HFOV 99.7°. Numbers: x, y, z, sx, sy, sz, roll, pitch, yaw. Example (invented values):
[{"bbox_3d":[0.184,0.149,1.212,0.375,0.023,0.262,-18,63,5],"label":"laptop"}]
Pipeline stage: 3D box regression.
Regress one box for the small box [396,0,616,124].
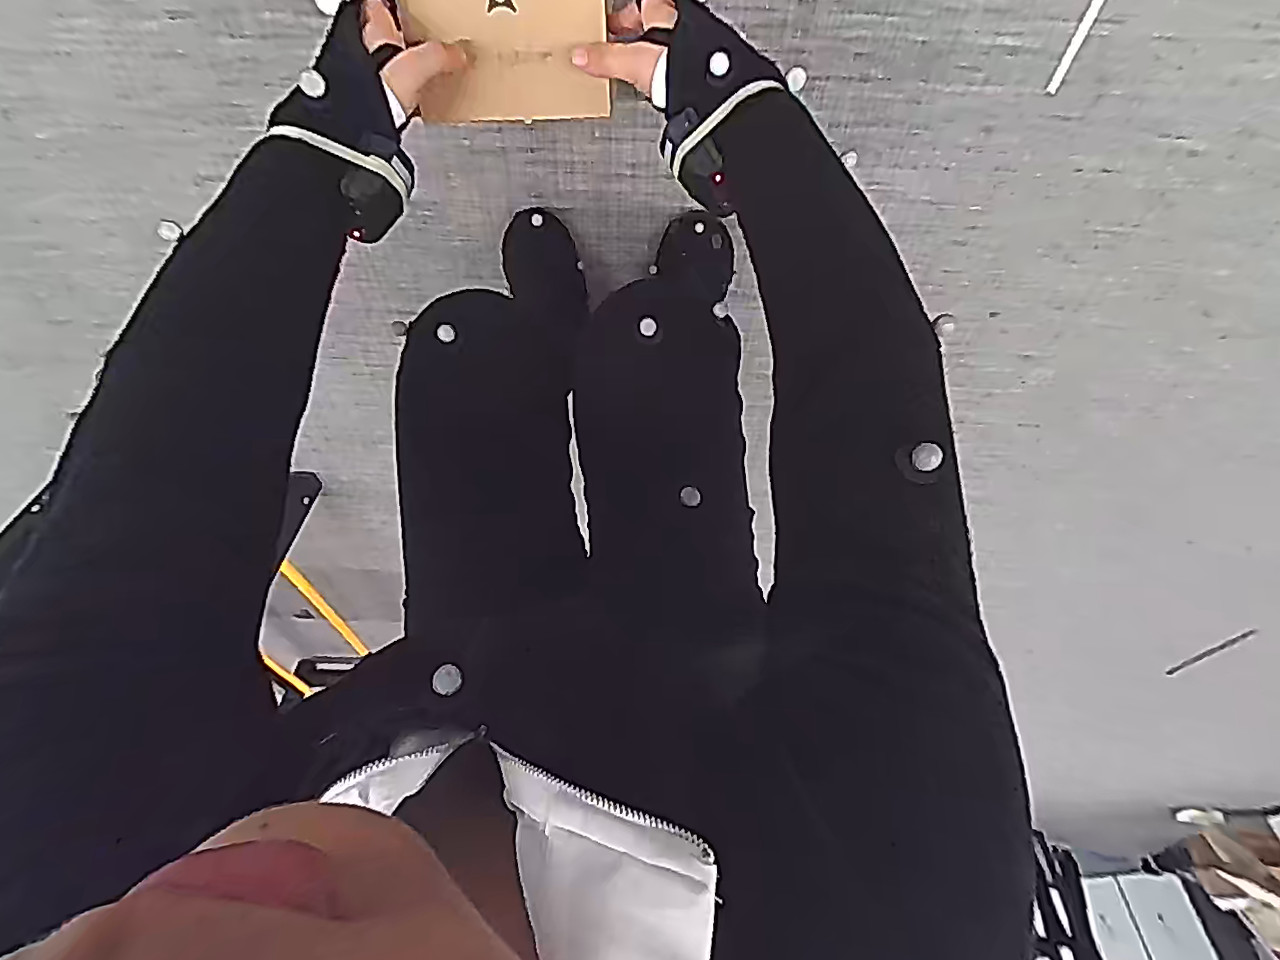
[{"bbox_3d":[-0.108,-0.430,0.475,0.168,0.176,0.179,-1,131,2],"label":"small box"}]
